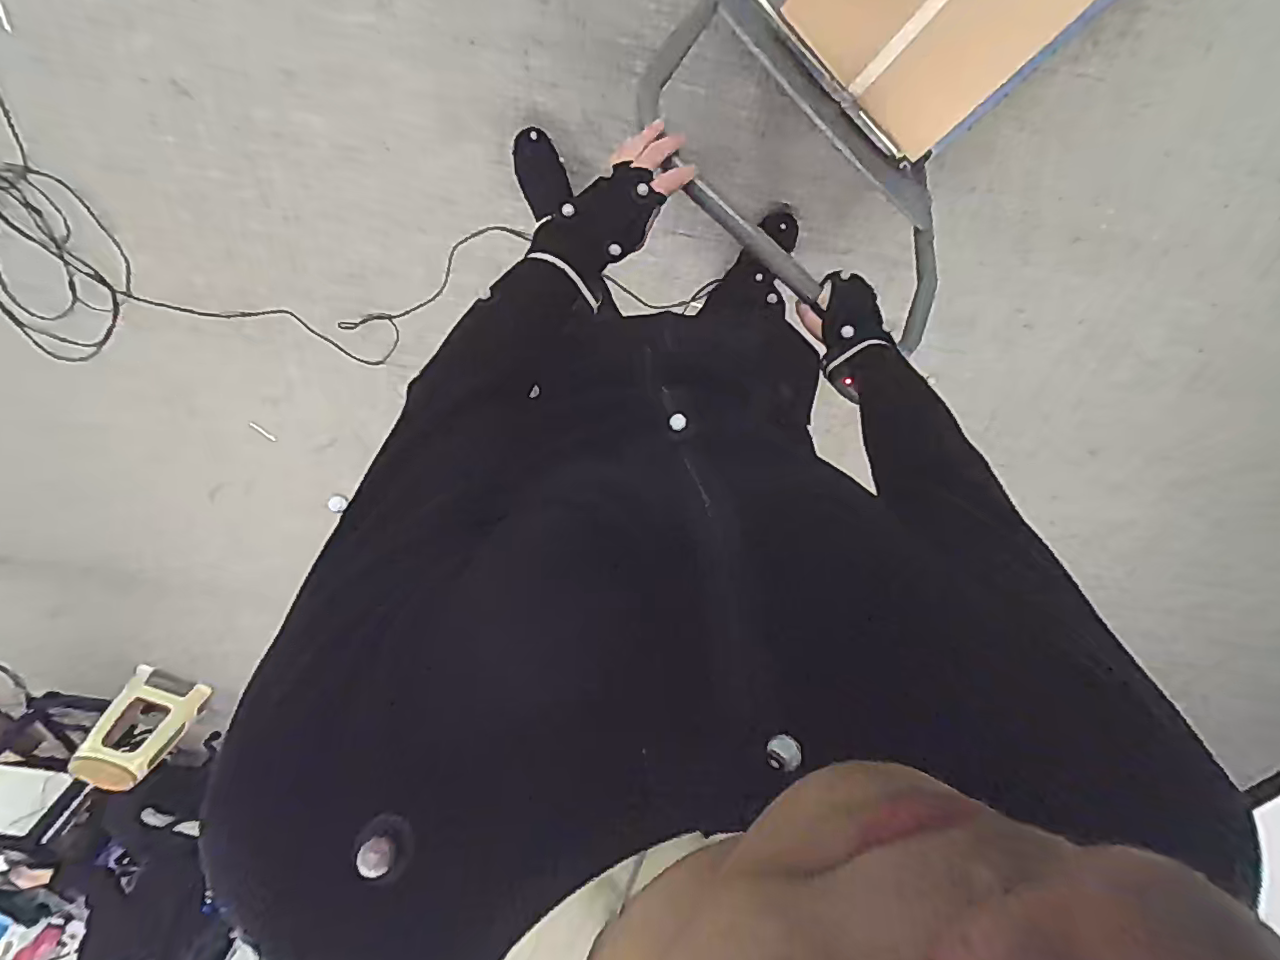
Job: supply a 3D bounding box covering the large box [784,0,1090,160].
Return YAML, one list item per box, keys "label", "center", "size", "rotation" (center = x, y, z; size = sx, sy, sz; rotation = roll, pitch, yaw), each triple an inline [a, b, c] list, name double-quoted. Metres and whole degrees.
- label: "large box"
  center: [0.472, -0.789, 0.790]
  size: [0.320, 0.320, 0.408]
  rotation: [34, 137, -19]
